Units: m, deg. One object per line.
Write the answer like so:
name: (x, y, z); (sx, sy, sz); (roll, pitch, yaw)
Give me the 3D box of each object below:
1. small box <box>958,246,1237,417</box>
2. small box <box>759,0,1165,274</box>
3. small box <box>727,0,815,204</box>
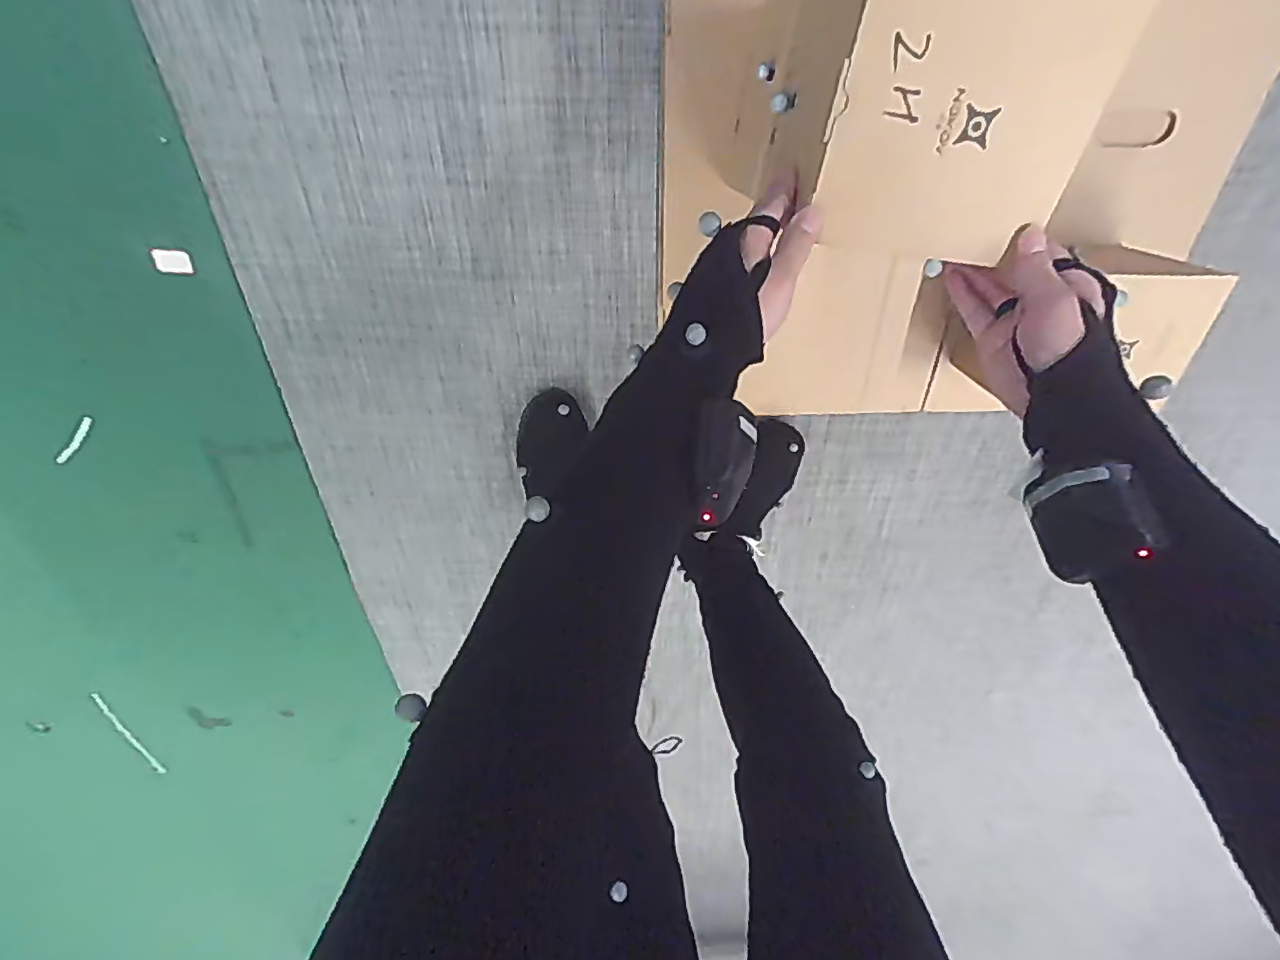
small box: (0.542, -0.190, 0.678); (0.179, 0.176, 0.168); (0, 123, -1)
small box: (0.210, -0.272, 0.416); (0.179, 0.176, 0.168); (6, 122, -5)
small box: (0.202, -0.369, 0.550); (0.179, 0.176, 0.168); (6, 122, -6)
